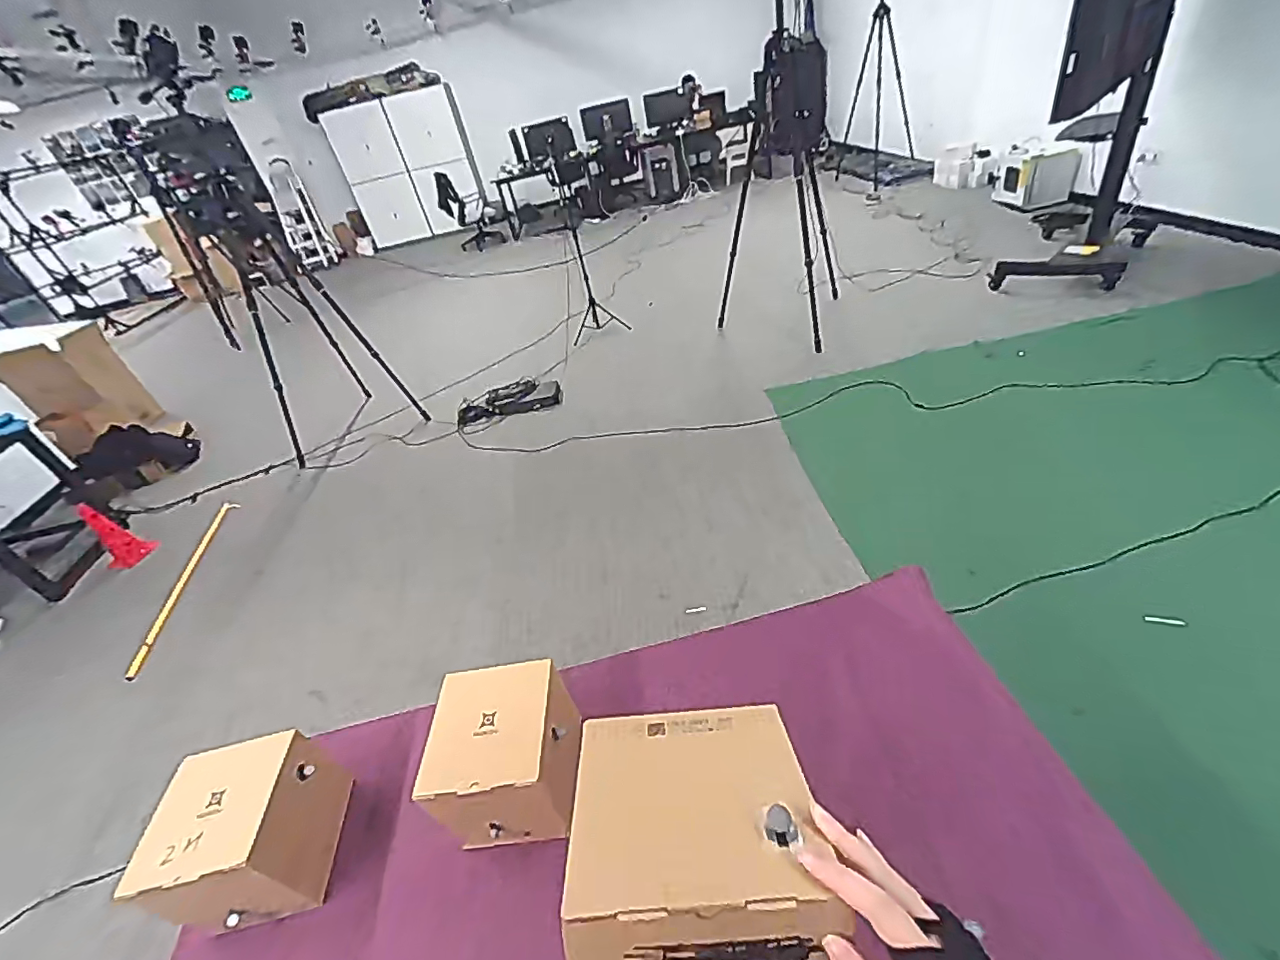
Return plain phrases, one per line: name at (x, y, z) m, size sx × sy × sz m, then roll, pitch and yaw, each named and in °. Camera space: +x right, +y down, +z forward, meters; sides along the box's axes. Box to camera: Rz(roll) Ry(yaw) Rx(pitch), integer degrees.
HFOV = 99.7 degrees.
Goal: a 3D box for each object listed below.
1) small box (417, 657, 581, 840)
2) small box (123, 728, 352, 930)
small box at (-0.188, 0.388, 0.783) m, size 0.168 × 0.176 × 0.179 m, roll -11°, pitch 39°, yaw 6°
small box at (-0.542, 0.490, 0.765) m, size 0.168 × 0.176 × 0.179 m, roll -15°, pitch 37°, yaw 0°
